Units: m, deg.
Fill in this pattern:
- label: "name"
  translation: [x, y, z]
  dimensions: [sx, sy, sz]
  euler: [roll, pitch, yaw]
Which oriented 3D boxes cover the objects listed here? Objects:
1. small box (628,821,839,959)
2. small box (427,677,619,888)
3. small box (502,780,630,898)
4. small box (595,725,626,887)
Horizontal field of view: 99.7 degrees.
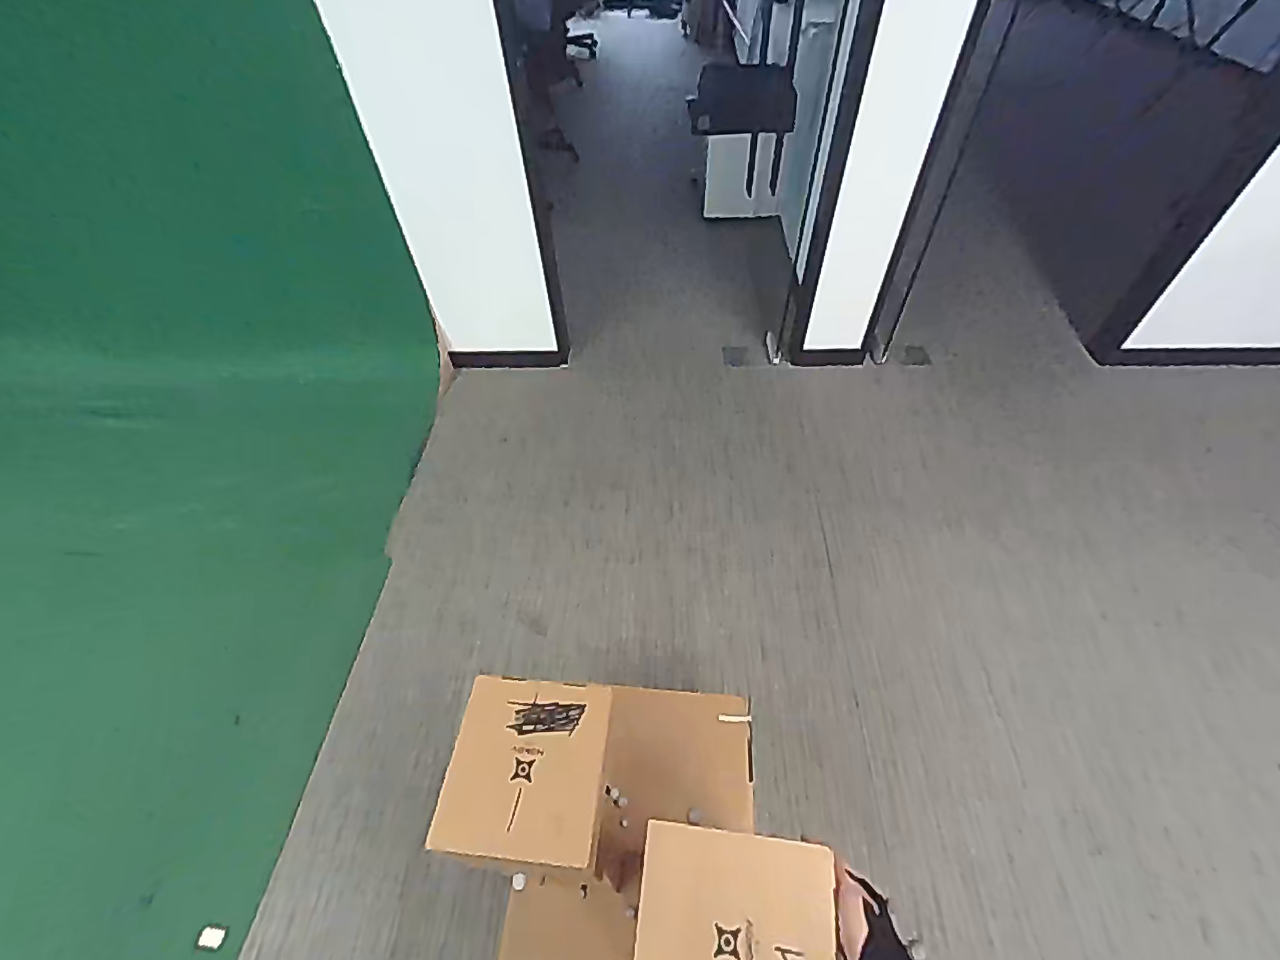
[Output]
- label: "small box"
  translation: [0.083, 0.443, 0.521]
  dimensions: [0.179, 0.176, 0.168]
  euler: [5, 55, 6]
- label: "small box"
  translation: [-0.118, 0.357, 0.637]
  dimensions: [0.168, 0.176, 0.179]
  euler: [3, 50, 6]
- label: "small box"
  translation: [-0.110, 0.566, 0.889]
  dimensions: [0.168, 0.176, 0.179]
  euler: [3, 48, 6]
- label: "small box"
  translation: [-0.111, 0.455, 0.768]
  dimensions: [0.168, 0.176, 0.179]
  euler: [3, 50, 6]
